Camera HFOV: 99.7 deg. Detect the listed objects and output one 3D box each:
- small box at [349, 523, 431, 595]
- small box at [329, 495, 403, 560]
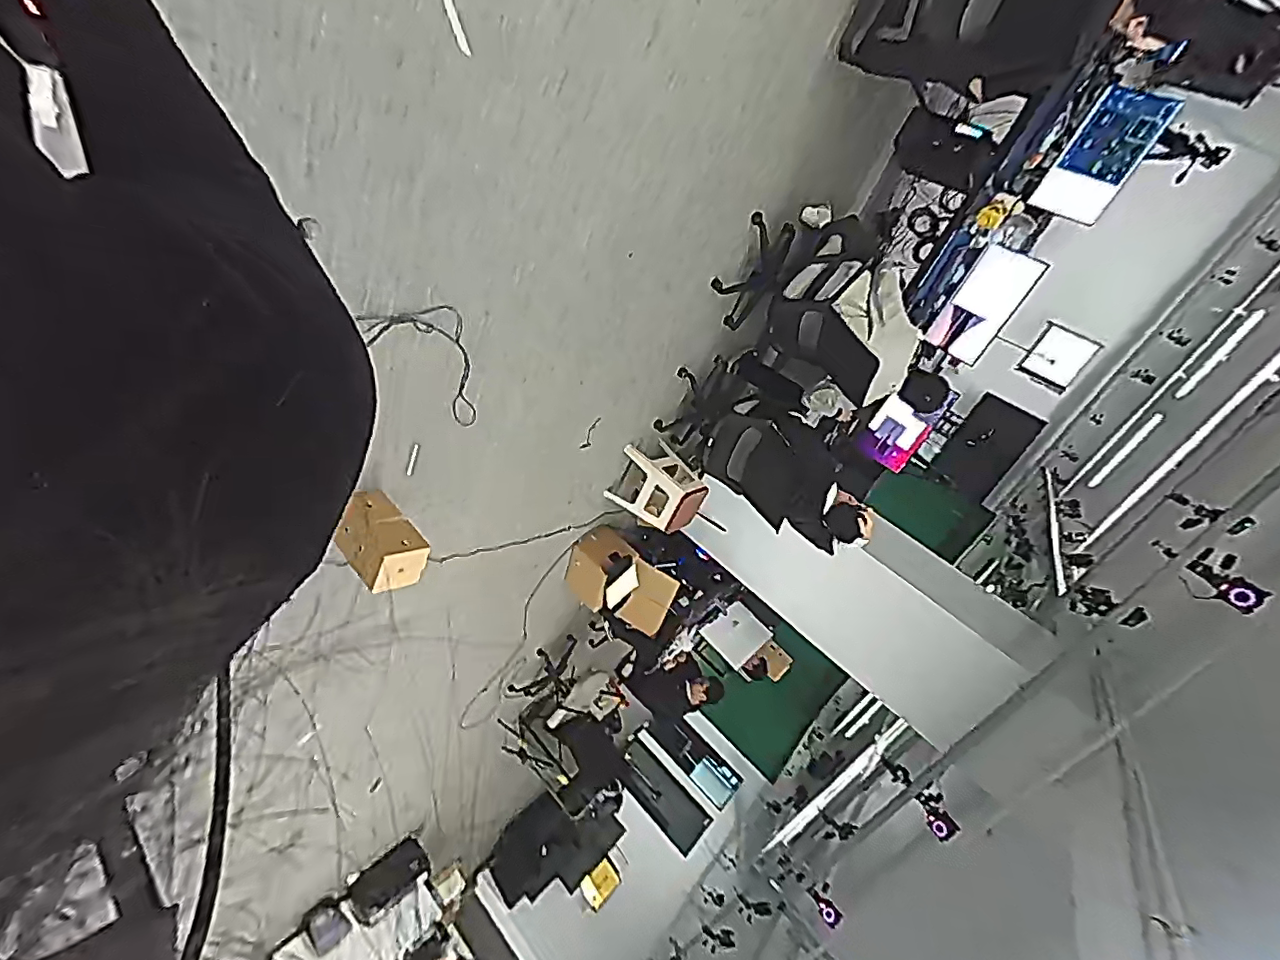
[{"bbox_3d":[-0.863,0.265,1.864,0.179,0.176,0.168,-7,130,-56],"label":"small box"},{"bbox_3d":[-0.980,0.168,1.927,0.168,0.176,0.179,-14,136,-53],"label":"small box"}]
